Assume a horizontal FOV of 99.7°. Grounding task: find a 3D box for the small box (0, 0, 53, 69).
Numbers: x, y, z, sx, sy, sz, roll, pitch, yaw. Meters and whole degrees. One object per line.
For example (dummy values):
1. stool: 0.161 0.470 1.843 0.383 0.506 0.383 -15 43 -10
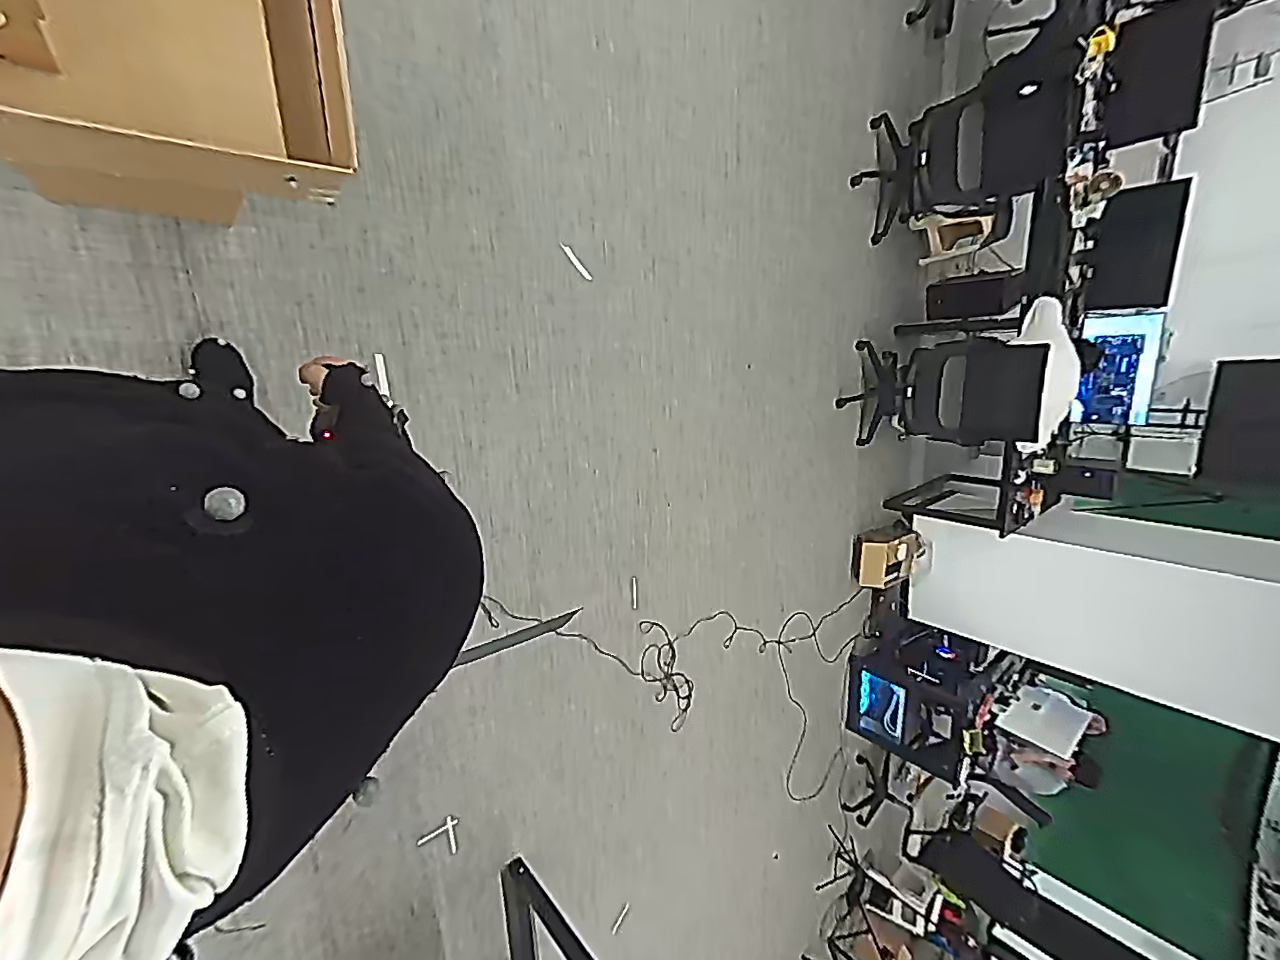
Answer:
1. small box: -0.882 -0.660 0.673 0.168 0.176 0.179 -13 105 -38
